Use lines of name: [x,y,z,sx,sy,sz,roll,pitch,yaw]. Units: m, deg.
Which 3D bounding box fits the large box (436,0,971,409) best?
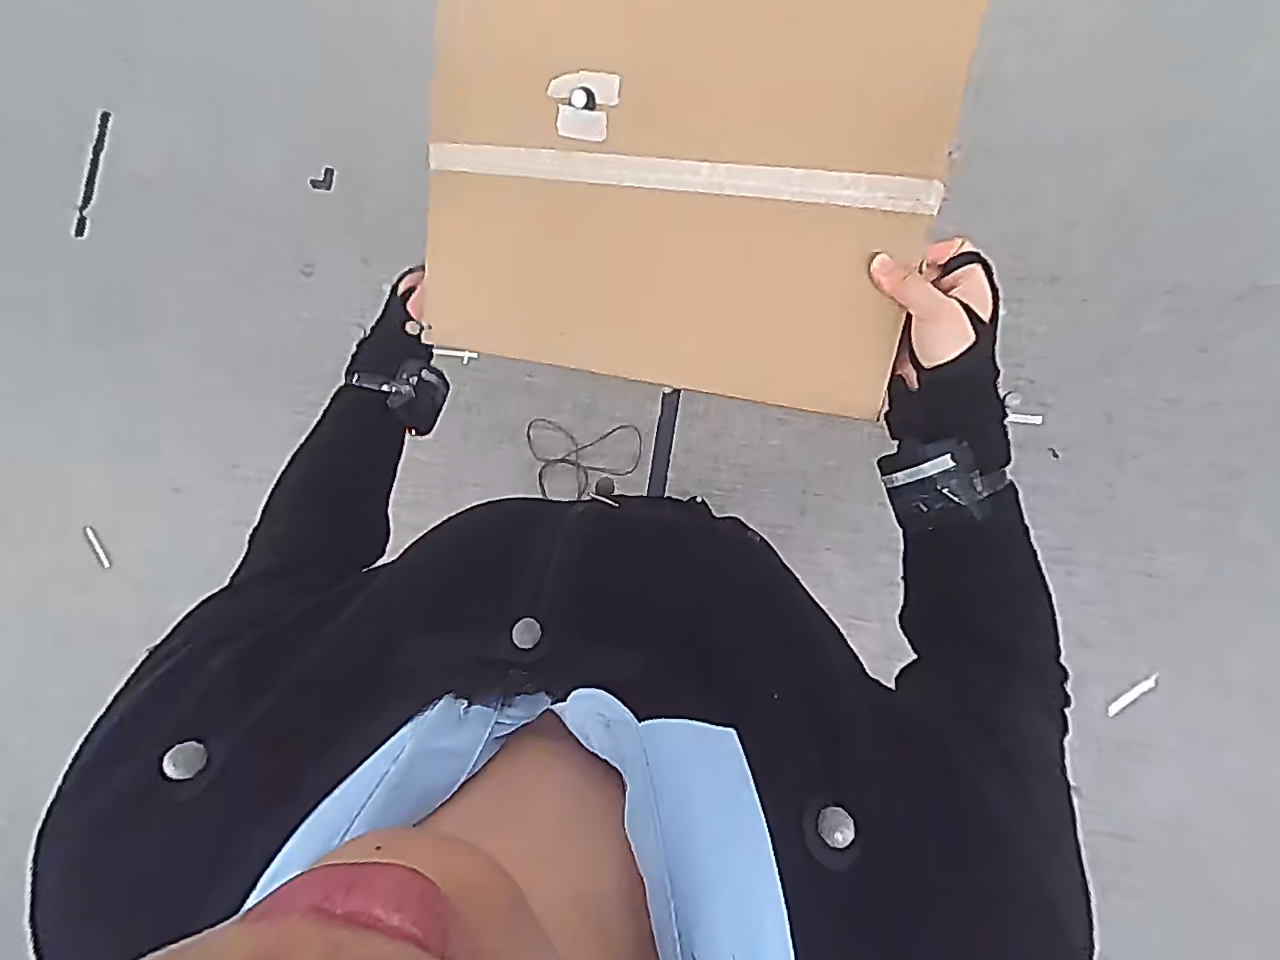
large box: [0.057,-0.265,0.573,0.408,0.320,0.320,12,103,13]
